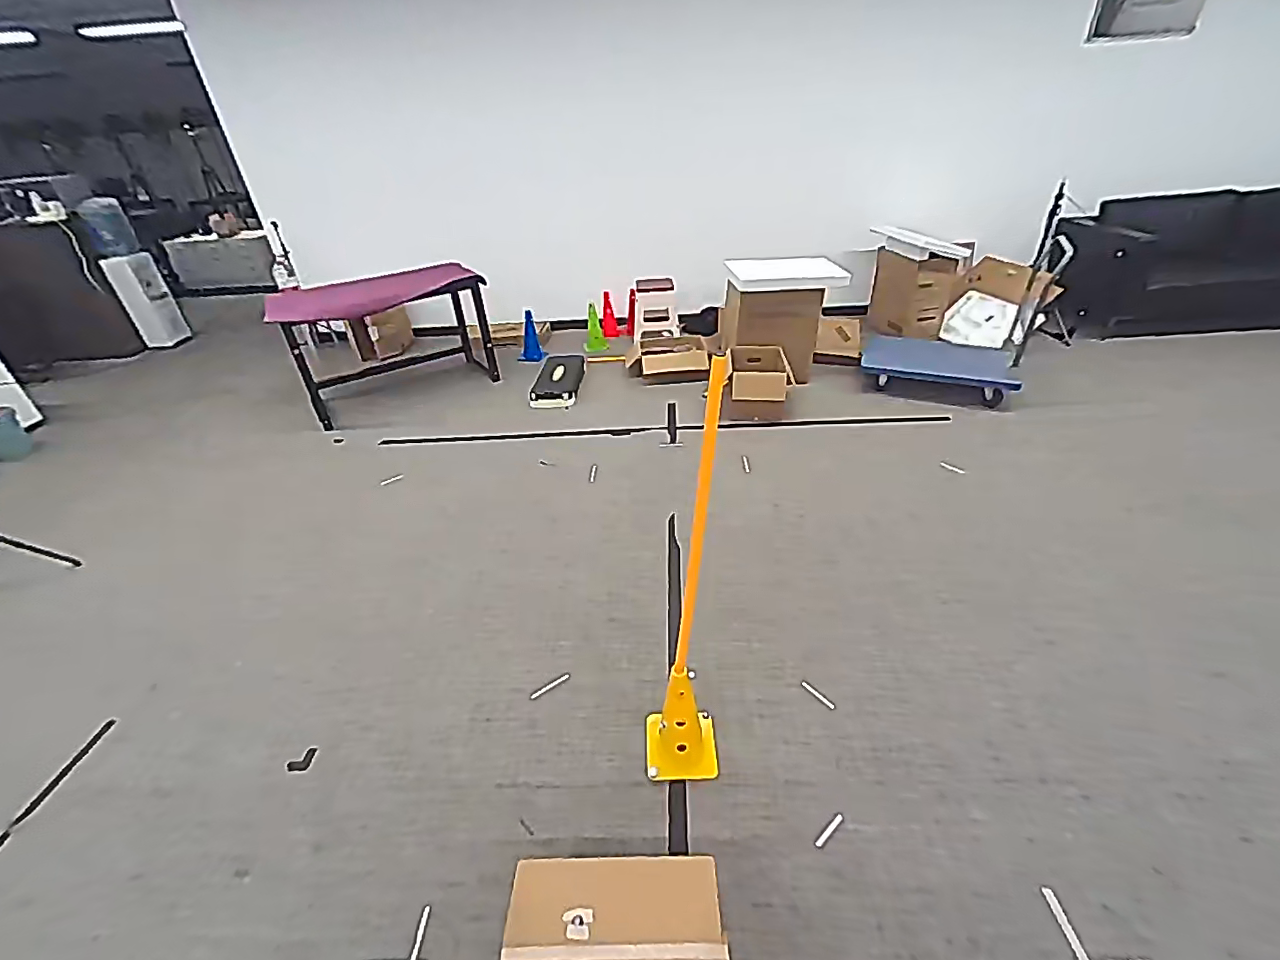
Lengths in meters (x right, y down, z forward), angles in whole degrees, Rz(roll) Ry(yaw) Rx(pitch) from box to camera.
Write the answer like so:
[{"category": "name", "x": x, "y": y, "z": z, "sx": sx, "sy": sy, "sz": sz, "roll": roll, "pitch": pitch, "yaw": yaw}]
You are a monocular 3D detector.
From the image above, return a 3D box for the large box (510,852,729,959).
[{"category": "large box", "x": -0.026, "y": 0.980, "z": 1.062, "sx": 0.408, "sy": 0.320, "sz": 0.320, "roll": -4, "pitch": 33, "yaw": 3}]
